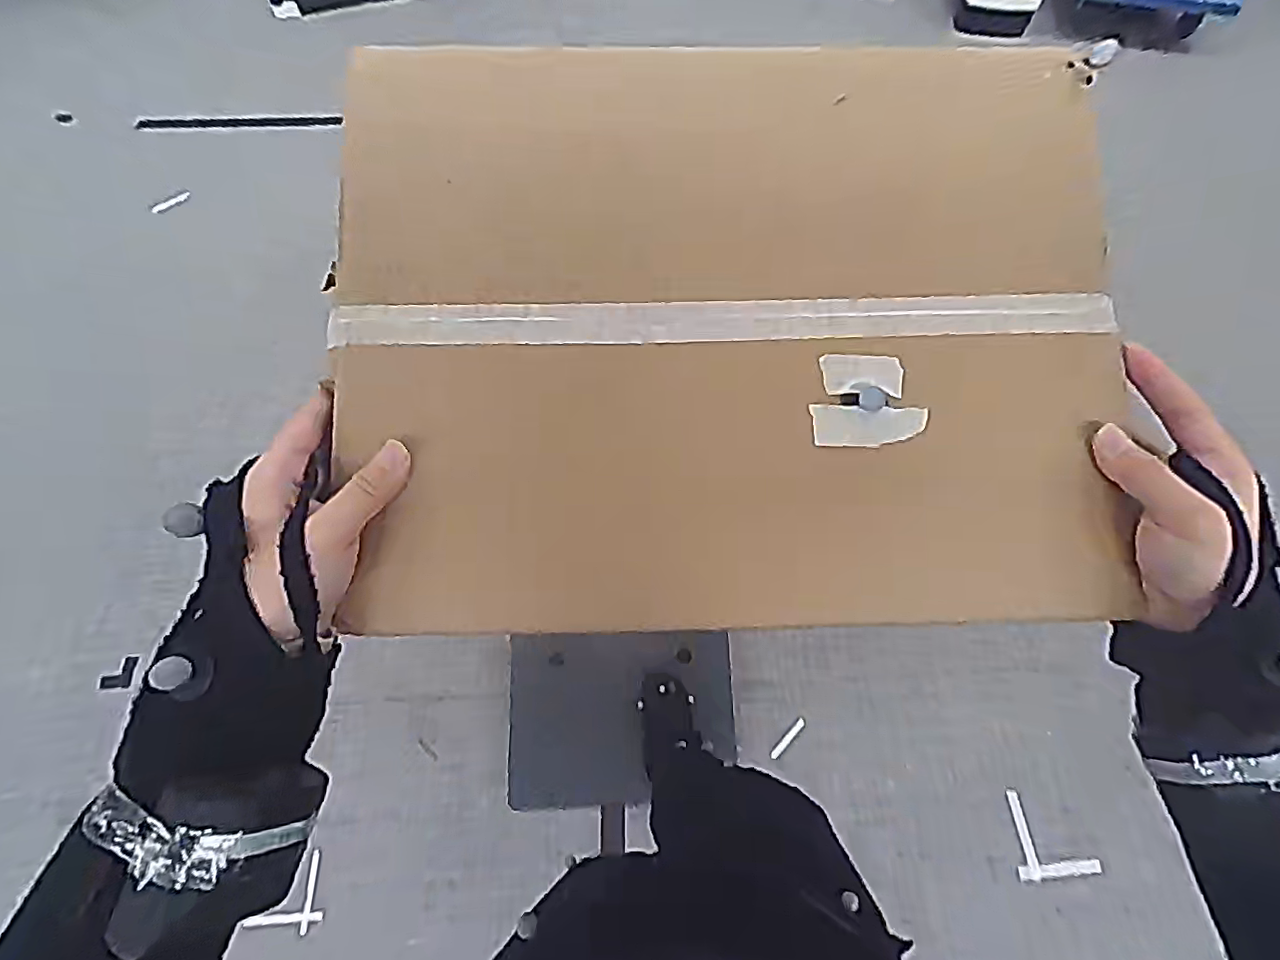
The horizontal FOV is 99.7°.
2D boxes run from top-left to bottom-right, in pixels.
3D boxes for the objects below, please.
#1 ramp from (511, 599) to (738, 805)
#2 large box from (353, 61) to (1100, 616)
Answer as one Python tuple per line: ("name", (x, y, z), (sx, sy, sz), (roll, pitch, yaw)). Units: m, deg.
("ramp", (-0.045, 0.196, 1.264), (0.509, 0.206, 0.991), (-3, 67, -3))
("large box", (0.040, -0.074, 0.447), (0.408, 0.320, 0.320), (-1, 85, -1))
